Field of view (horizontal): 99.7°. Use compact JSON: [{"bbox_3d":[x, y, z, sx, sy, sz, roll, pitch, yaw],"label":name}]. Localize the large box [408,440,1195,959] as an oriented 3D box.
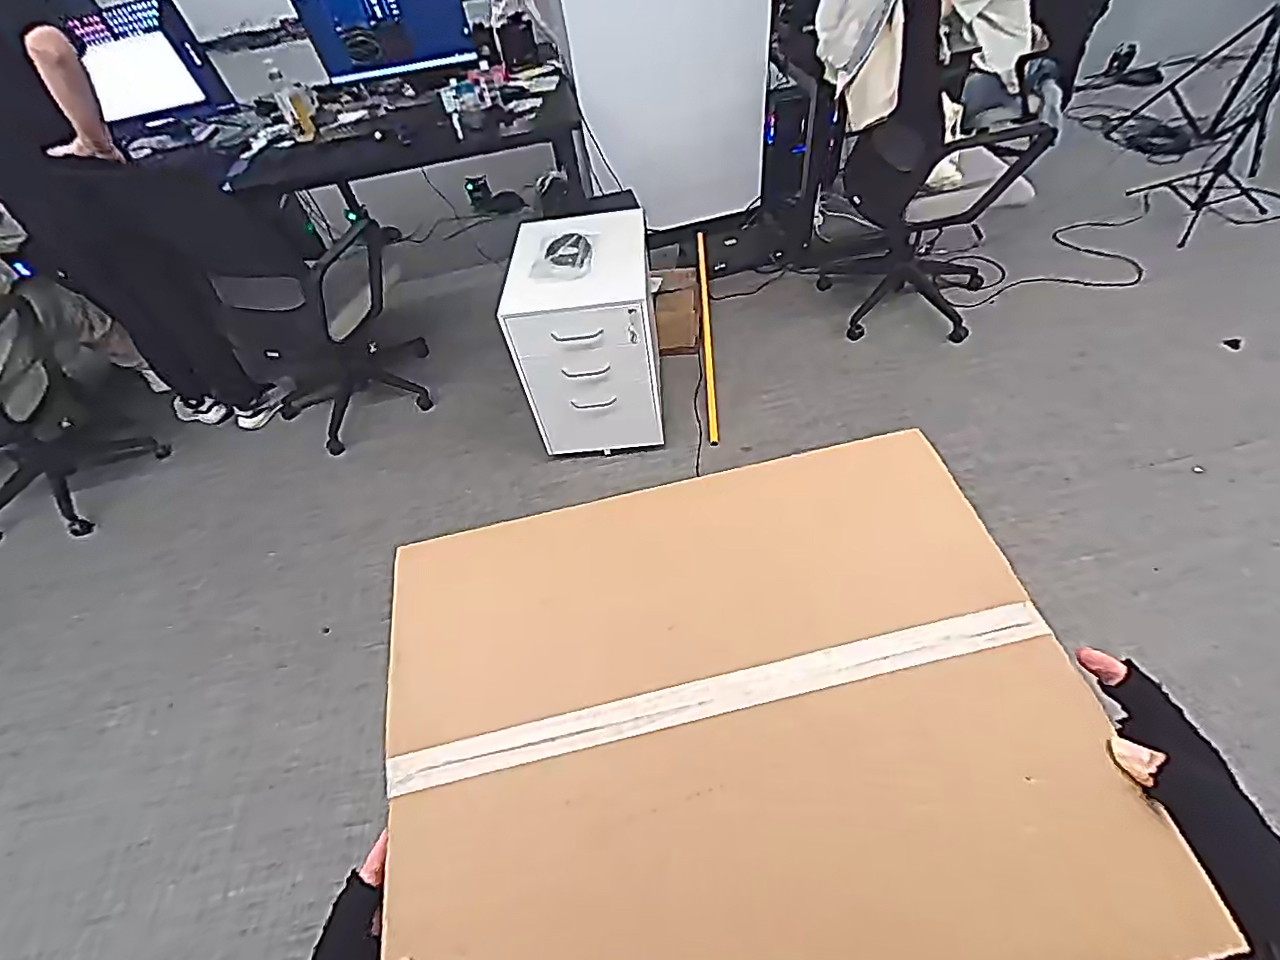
[{"bbox_3d":[0.065,0.218,0.463,0.408,0.320,0.320,-13,58,-2],"label":"large box"}]
